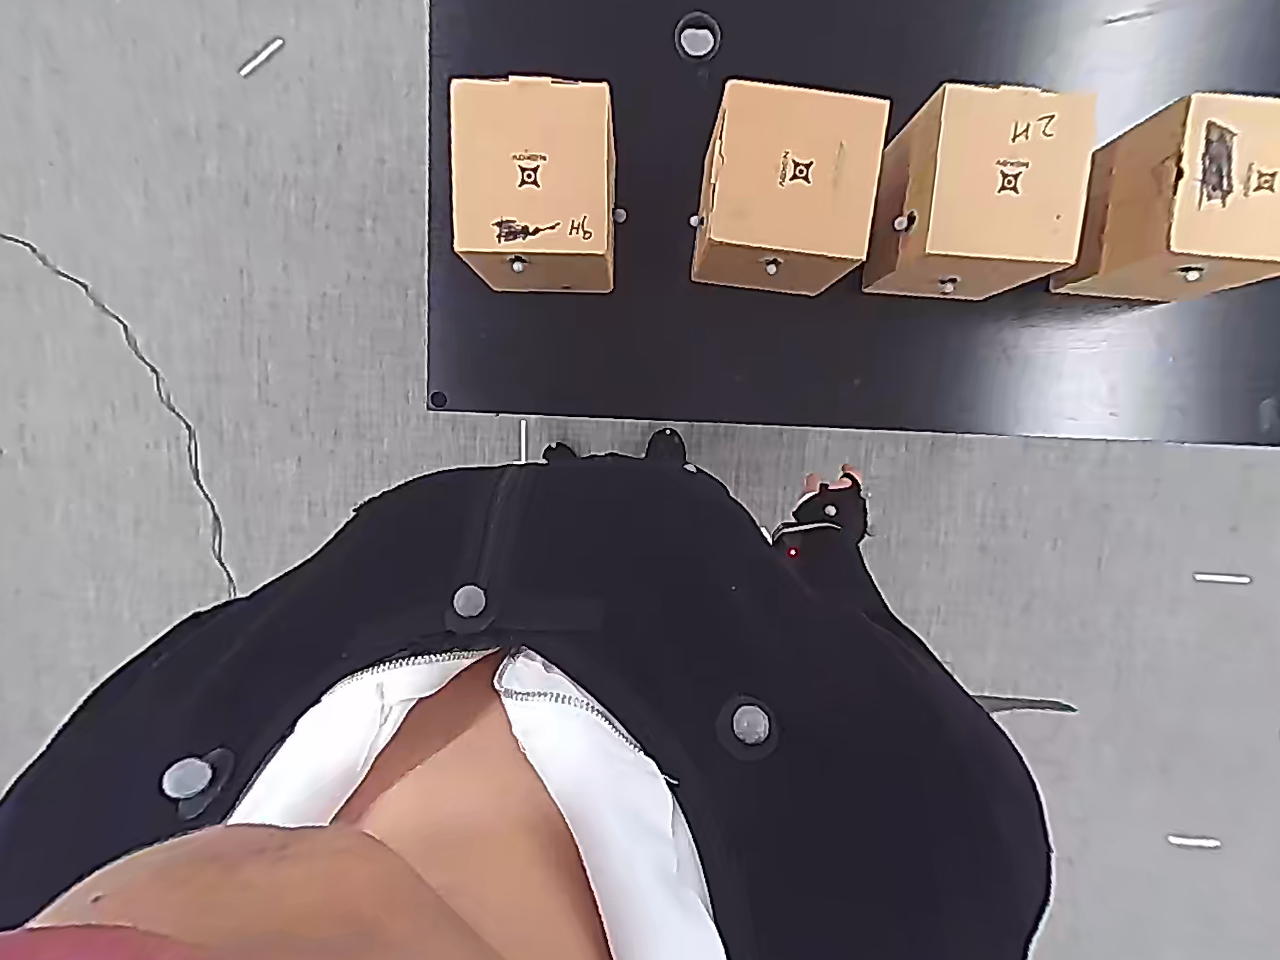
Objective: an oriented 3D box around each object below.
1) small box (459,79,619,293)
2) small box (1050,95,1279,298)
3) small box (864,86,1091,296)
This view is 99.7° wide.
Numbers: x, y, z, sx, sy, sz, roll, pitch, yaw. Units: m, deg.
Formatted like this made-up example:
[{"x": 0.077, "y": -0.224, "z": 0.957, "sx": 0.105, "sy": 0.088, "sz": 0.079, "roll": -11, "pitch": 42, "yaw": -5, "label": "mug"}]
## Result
[{"x": -0.112, "y": -0.343, "z": 0.660, "sx": 0.168, "sy": 0.176, "sz": 0.179, "roll": 2, "pitch": 95, "yaw": 0, "label": "small box"}, {"x": 0.654, "y": -0.331, "z": 0.664, "sx": 0.179, "sy": 0.176, "sz": 0.168, "roll": 5, "pitch": 95, "yaw": -1, "label": "small box"}, {"x": 0.393, "y": -0.335, "z": 0.663, "sx": 0.168, "sy": 0.176, "sz": 0.179, "roll": 4, "pitch": 95, "yaw": -1, "label": "small box"}]
